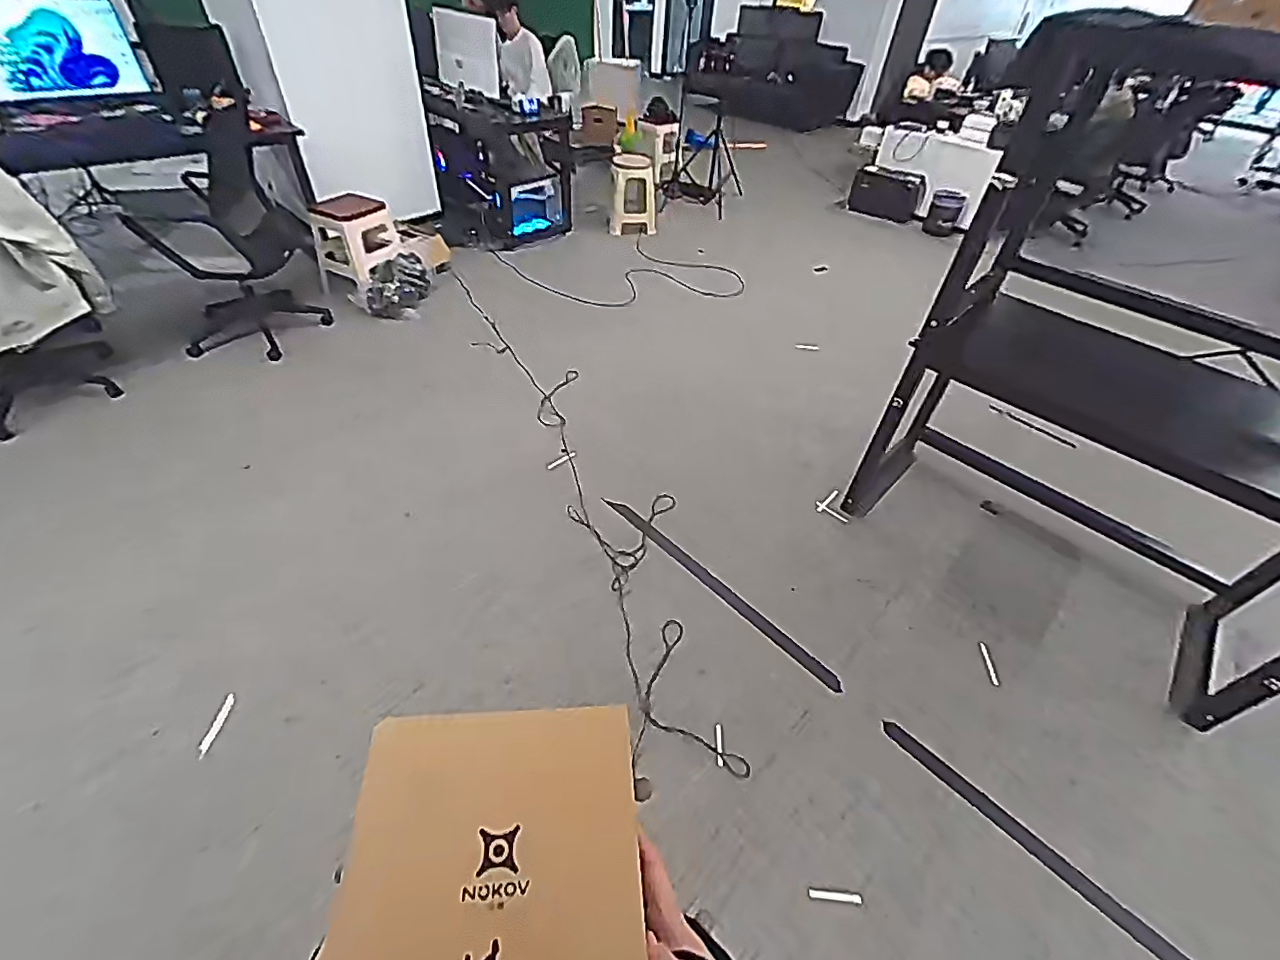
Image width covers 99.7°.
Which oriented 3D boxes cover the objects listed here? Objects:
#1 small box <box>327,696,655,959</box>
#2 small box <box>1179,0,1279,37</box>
[{"bbox_3d":[-0.087,0.265,0.363,0.168,0.176,0.179,0,48,-8],"label":"small box"},{"bbox_3d":[1.139,-0.923,0.979,0.168,0.176,0.179,36,51,27],"label":"small box"}]
